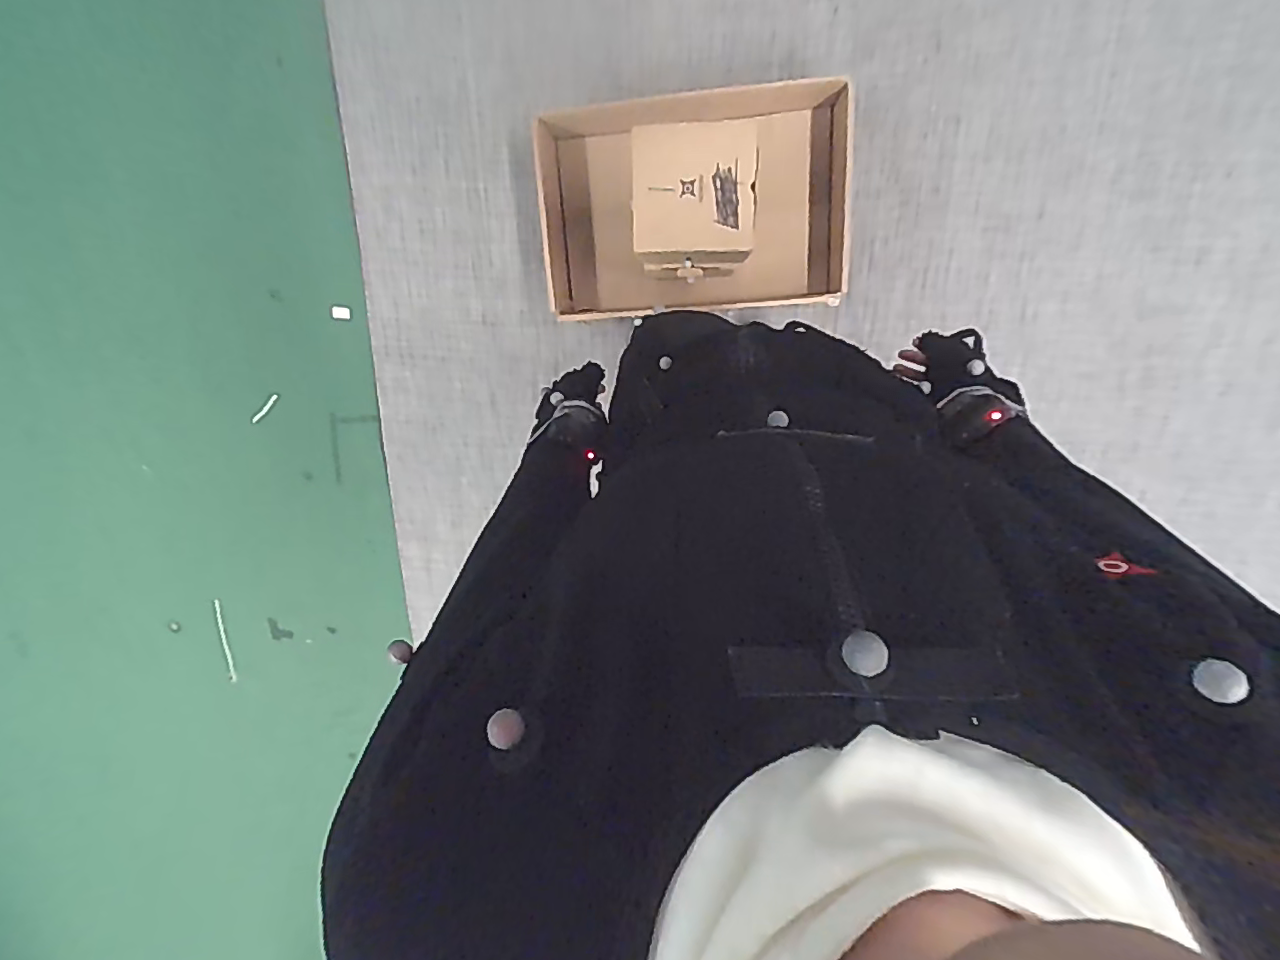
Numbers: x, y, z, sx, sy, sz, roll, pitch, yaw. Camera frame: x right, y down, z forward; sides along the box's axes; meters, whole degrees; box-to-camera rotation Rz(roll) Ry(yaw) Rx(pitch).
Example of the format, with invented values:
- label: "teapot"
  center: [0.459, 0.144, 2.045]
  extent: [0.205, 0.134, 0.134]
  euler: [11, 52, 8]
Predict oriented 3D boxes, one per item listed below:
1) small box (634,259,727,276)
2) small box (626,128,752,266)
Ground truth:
- label: "small box"
  center: [0.080, -0.473, 0.997]
  extent: [0.168, 0.176, 0.179]
  euler: [2, 107, 5]
- label: "small box"
  center: [0.074, -0.436, 0.853]
  extent: [0.179, 0.176, 0.168]
  euler: [2, 105, 5]
